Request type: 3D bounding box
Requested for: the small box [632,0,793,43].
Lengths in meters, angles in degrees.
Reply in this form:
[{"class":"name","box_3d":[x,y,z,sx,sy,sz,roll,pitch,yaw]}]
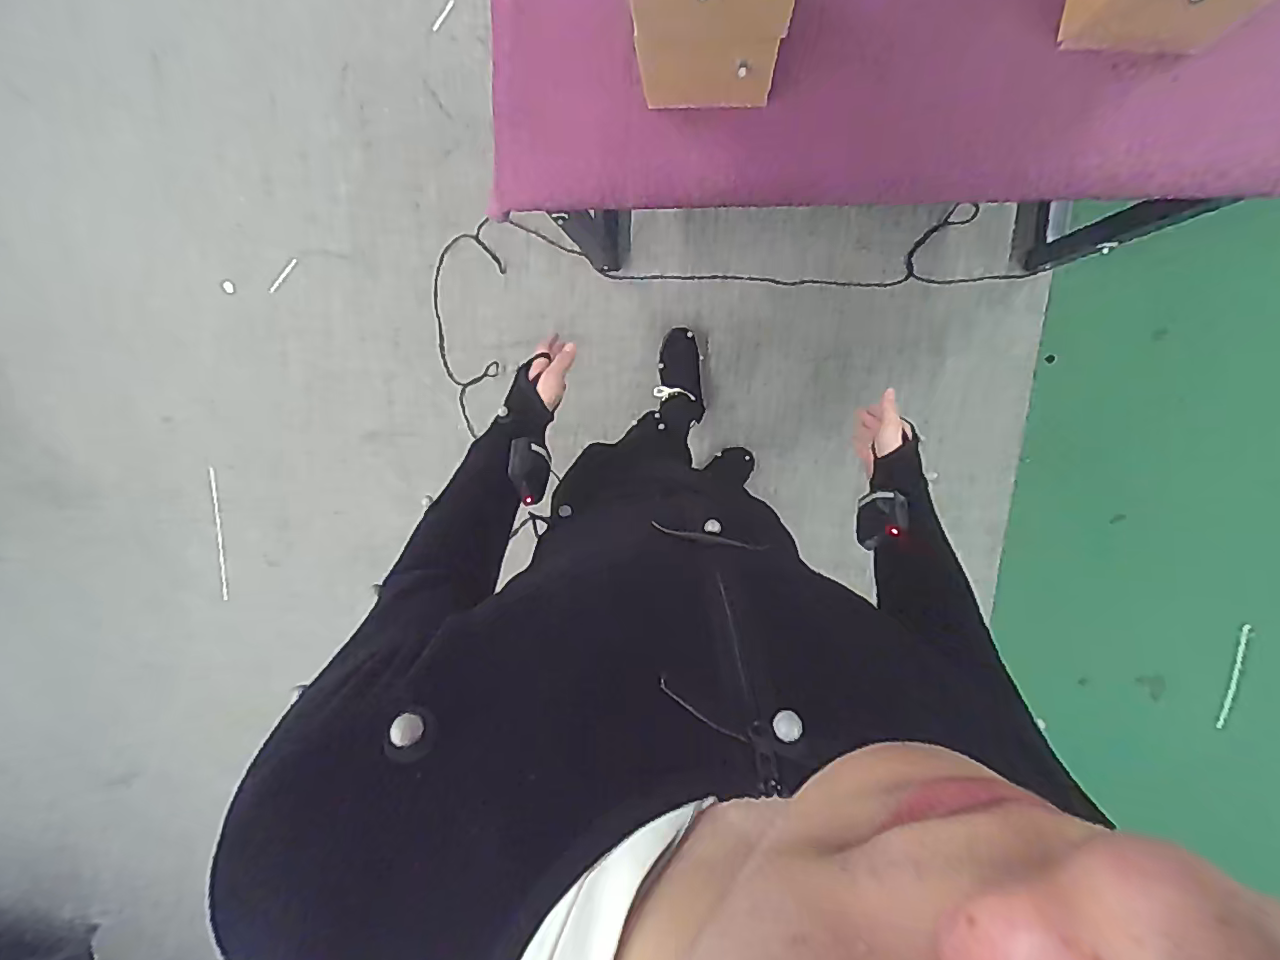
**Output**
[{"class":"small box","box_3d":[0.079,-0.579,0.541,0.179,0.176,0.168,3,99,6]}]
